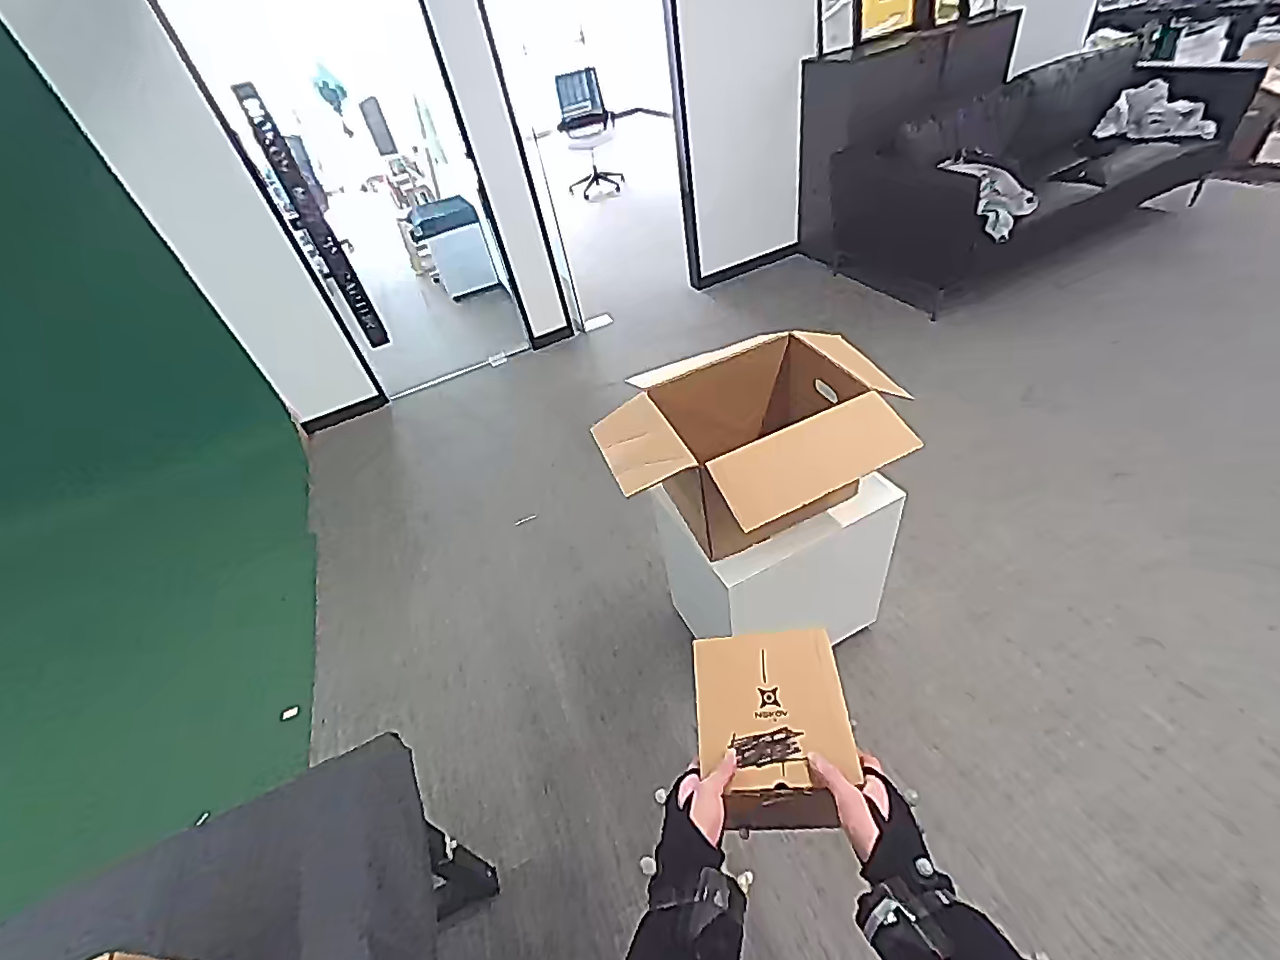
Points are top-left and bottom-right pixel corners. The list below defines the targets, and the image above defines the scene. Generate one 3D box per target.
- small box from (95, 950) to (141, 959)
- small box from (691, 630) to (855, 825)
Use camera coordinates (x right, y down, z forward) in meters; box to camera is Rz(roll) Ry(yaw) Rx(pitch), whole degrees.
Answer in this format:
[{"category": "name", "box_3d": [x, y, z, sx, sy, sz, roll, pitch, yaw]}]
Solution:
[{"category": "small box", "box_3d": [-0.622, 0.665, 0.591, 0.179, 0.176, 0.168, -22, 43, -12]}, {"category": "small box", "box_3d": [0.158, 0.308, 0.664, 0.168, 0.176, 0.179, -7, 44, 10]}]
